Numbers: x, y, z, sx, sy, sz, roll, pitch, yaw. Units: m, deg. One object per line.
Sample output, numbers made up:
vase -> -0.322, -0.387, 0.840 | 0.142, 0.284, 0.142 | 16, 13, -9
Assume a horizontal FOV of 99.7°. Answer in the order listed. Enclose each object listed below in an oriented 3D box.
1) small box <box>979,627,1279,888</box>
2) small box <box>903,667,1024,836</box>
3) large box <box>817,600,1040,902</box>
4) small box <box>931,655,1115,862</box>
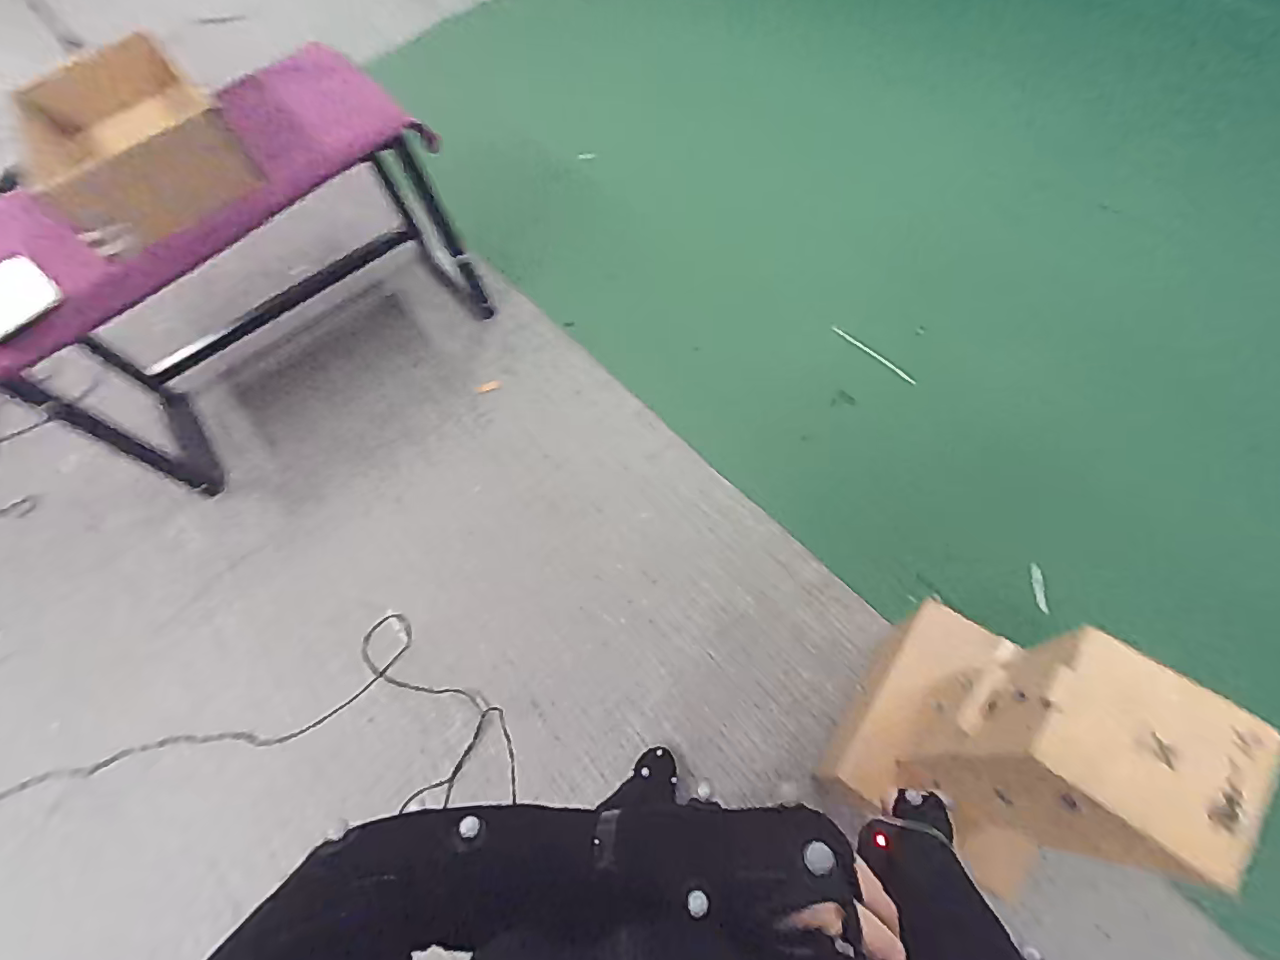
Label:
small box -> 0.519, 0.298, 0.598 | 0.179, 0.176, 0.168 | 34, 73, 25
small box -> 0.564, 0.441, 0.889 | 0.168, 0.176, 0.179 | 34, 73, 24
large box -> 0.614, 0.533, 1.112 | 0.320, 0.320, 0.408 | 31, 70, 21
small box -> 0.538, 0.376, 0.741 | 0.179, 0.176, 0.168 | 36, 73, 25
